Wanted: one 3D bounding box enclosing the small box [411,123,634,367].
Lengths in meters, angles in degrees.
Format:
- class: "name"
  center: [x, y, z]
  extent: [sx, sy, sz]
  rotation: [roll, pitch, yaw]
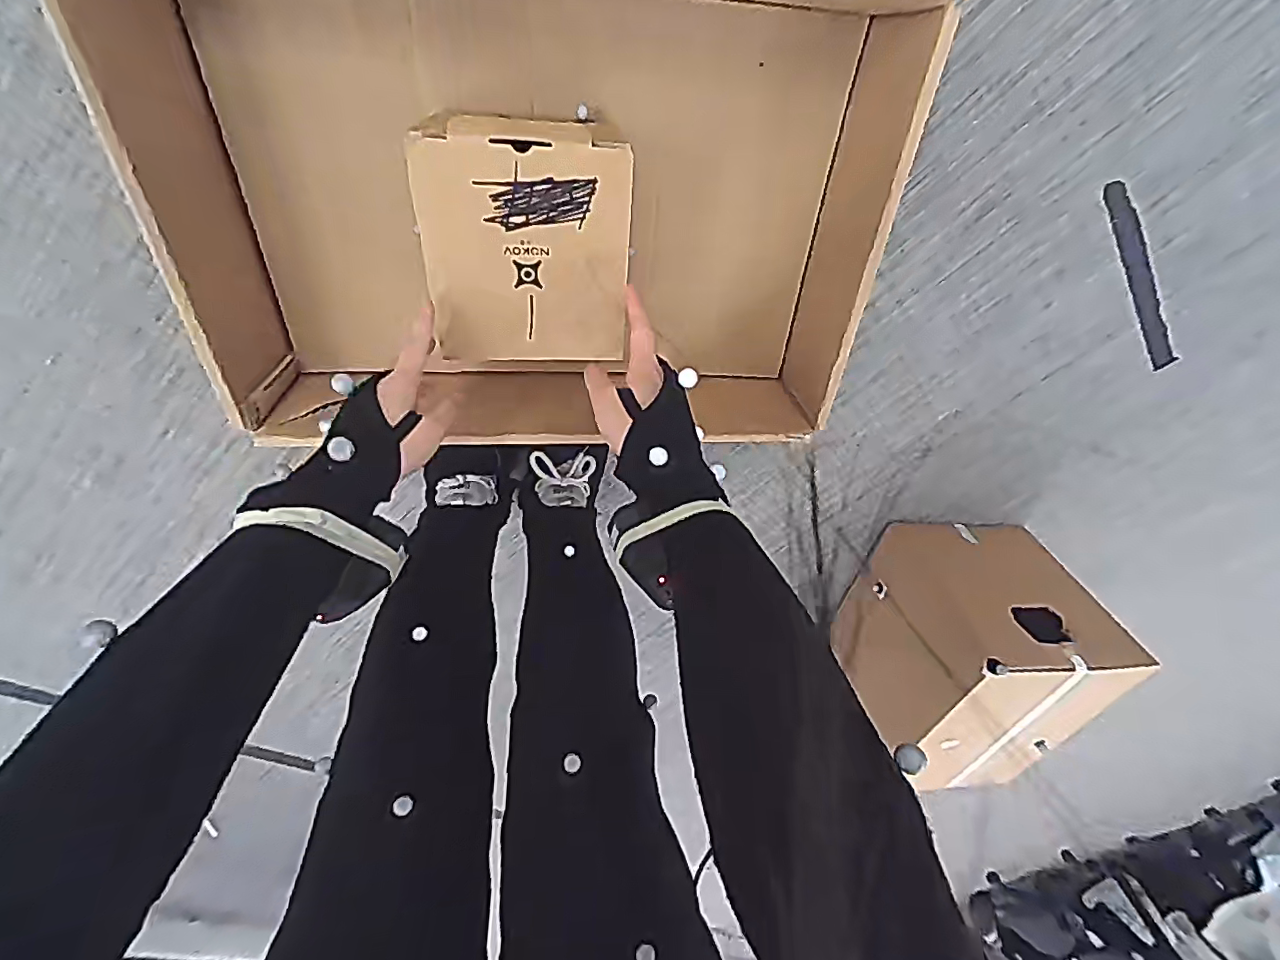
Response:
- class: "small box"
  center: [-0.102, -0.222, 0.509]
  extent: [0.168, 0.176, 0.179]
  rotation: [-2, 129, -8]
